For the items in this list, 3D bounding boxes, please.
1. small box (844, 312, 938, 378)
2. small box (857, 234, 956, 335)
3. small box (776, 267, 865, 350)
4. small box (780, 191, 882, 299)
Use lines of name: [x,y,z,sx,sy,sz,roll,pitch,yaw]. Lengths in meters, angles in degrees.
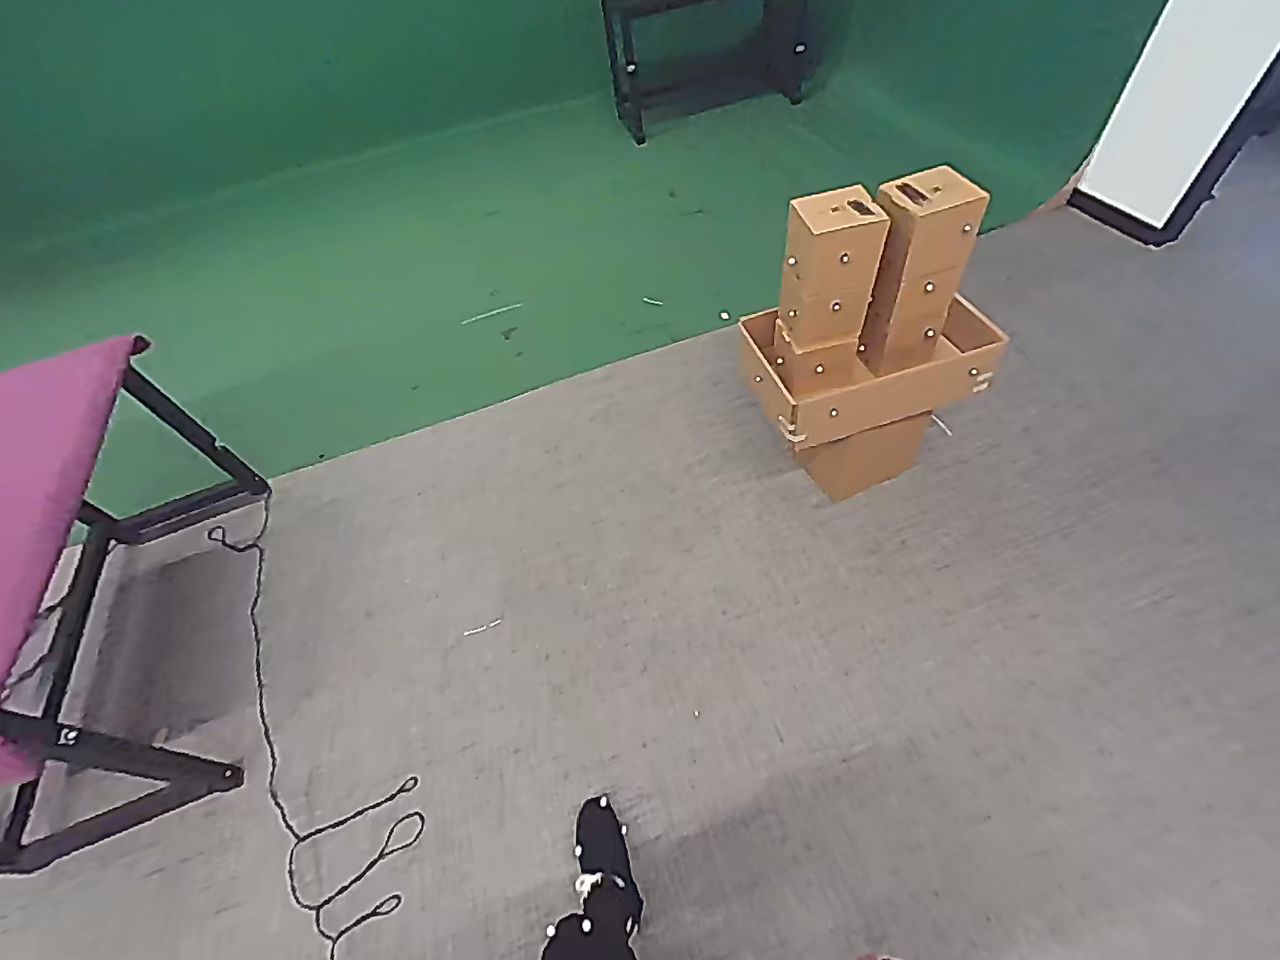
small box: [0.726,-0.428,1.585,0.179,0.176,0.168,-18,52,-4]
small box: [0.700,-0.521,1.457,0.179,0.176,0.168,-19,54,-3]
small box: [0.472,-0.471,1.450,0.179,0.176,0.168,-11,53,-2]
small box: [0.455,-0.569,1.319,0.179,0.176,0.168,-12,53,-1]
